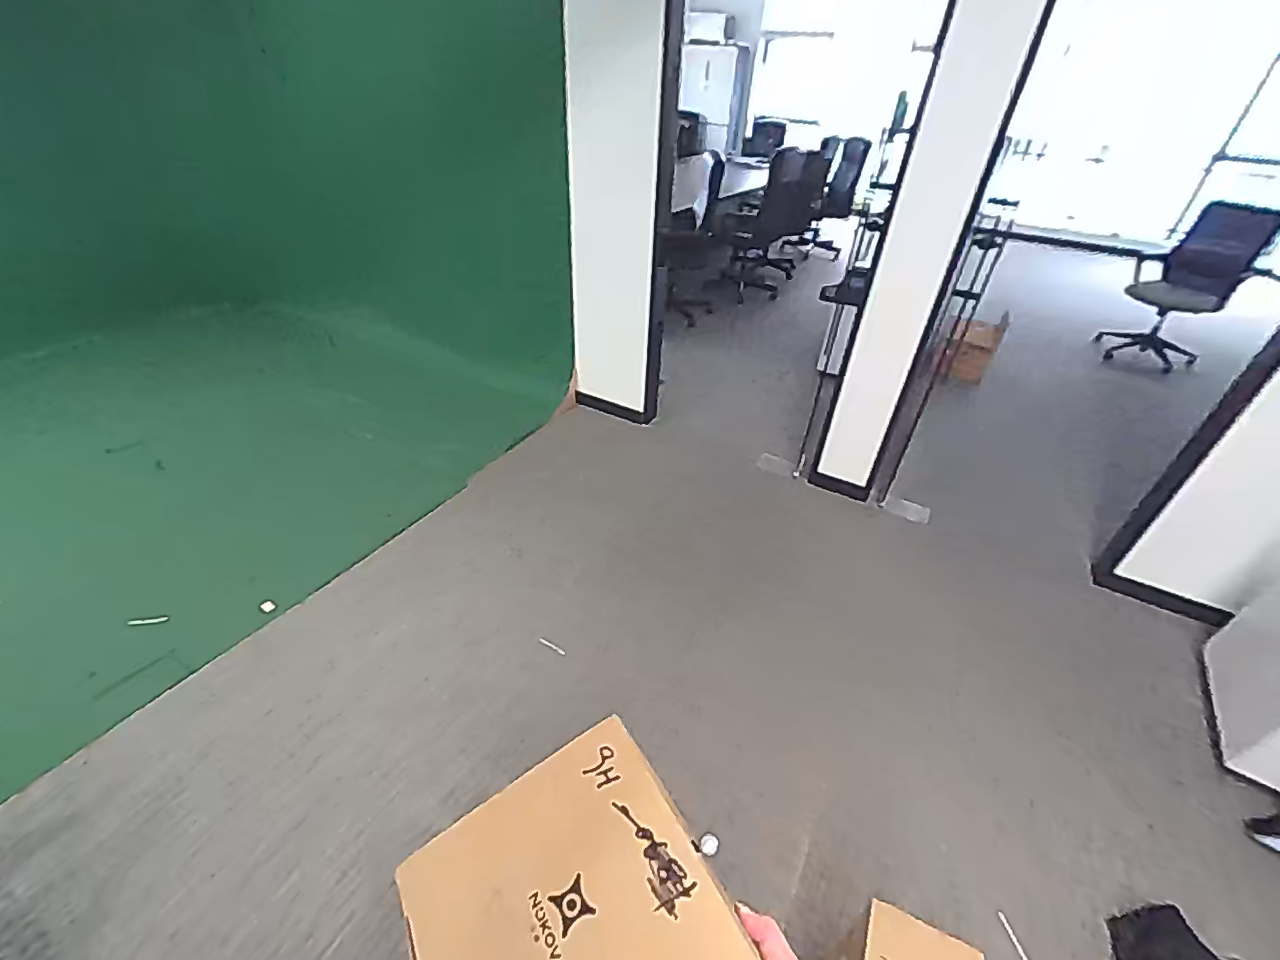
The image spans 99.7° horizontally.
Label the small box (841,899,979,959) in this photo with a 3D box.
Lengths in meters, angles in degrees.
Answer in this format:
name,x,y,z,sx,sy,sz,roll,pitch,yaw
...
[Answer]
name,x,y,z,sx,sy,sz,roll,pitch,yaw
small box,0.432,0.849,0.889,0.179,0.176,0.168,16,37,22
